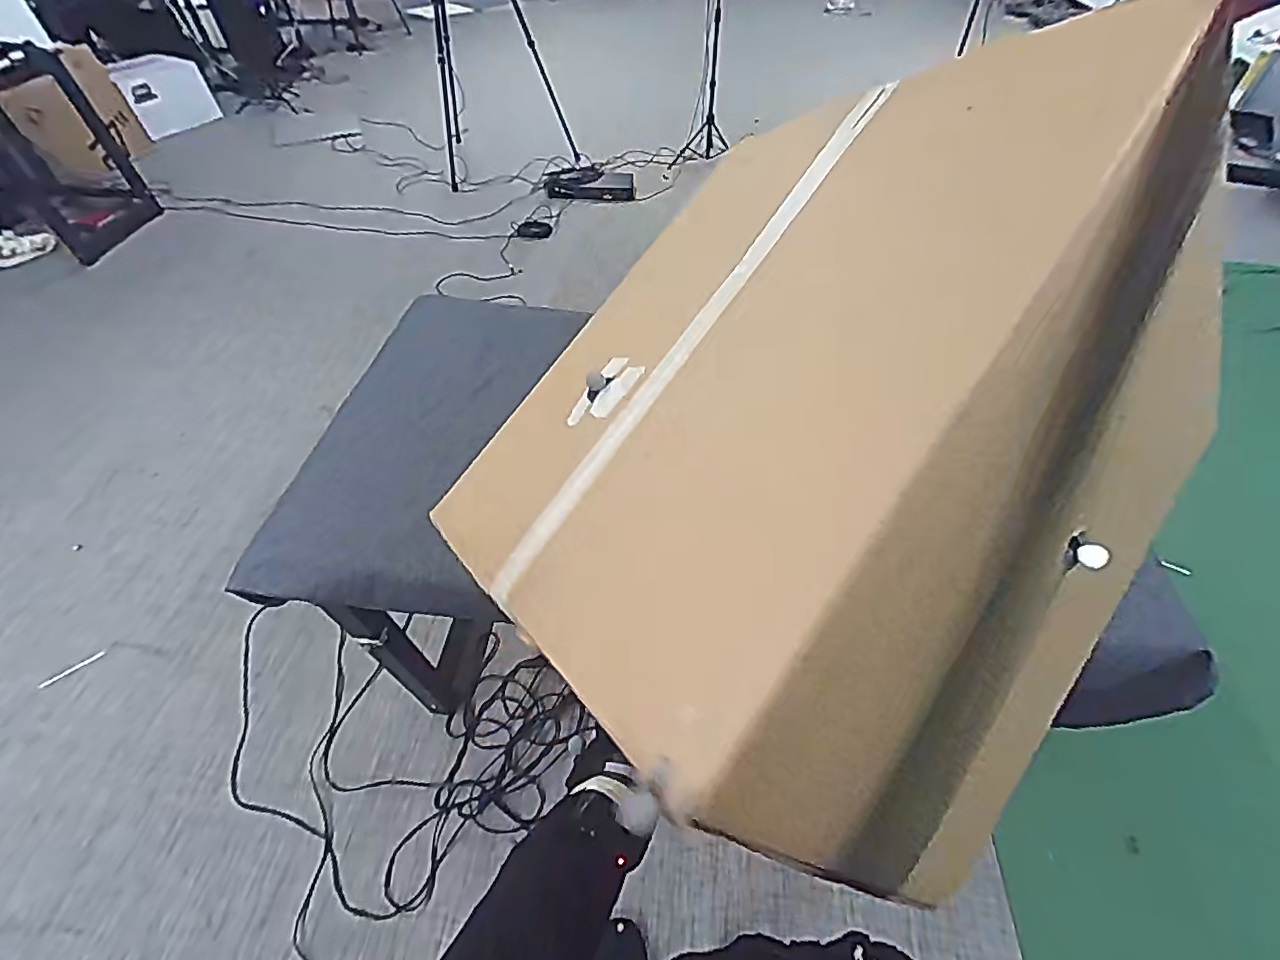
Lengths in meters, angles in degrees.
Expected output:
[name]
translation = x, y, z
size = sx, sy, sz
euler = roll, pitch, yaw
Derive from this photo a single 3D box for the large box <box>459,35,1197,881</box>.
[large box]
translation = 0.146, -0.003, 0.419
size = 0.320, 0.320, 0.408
euler = 22, 75, 52
